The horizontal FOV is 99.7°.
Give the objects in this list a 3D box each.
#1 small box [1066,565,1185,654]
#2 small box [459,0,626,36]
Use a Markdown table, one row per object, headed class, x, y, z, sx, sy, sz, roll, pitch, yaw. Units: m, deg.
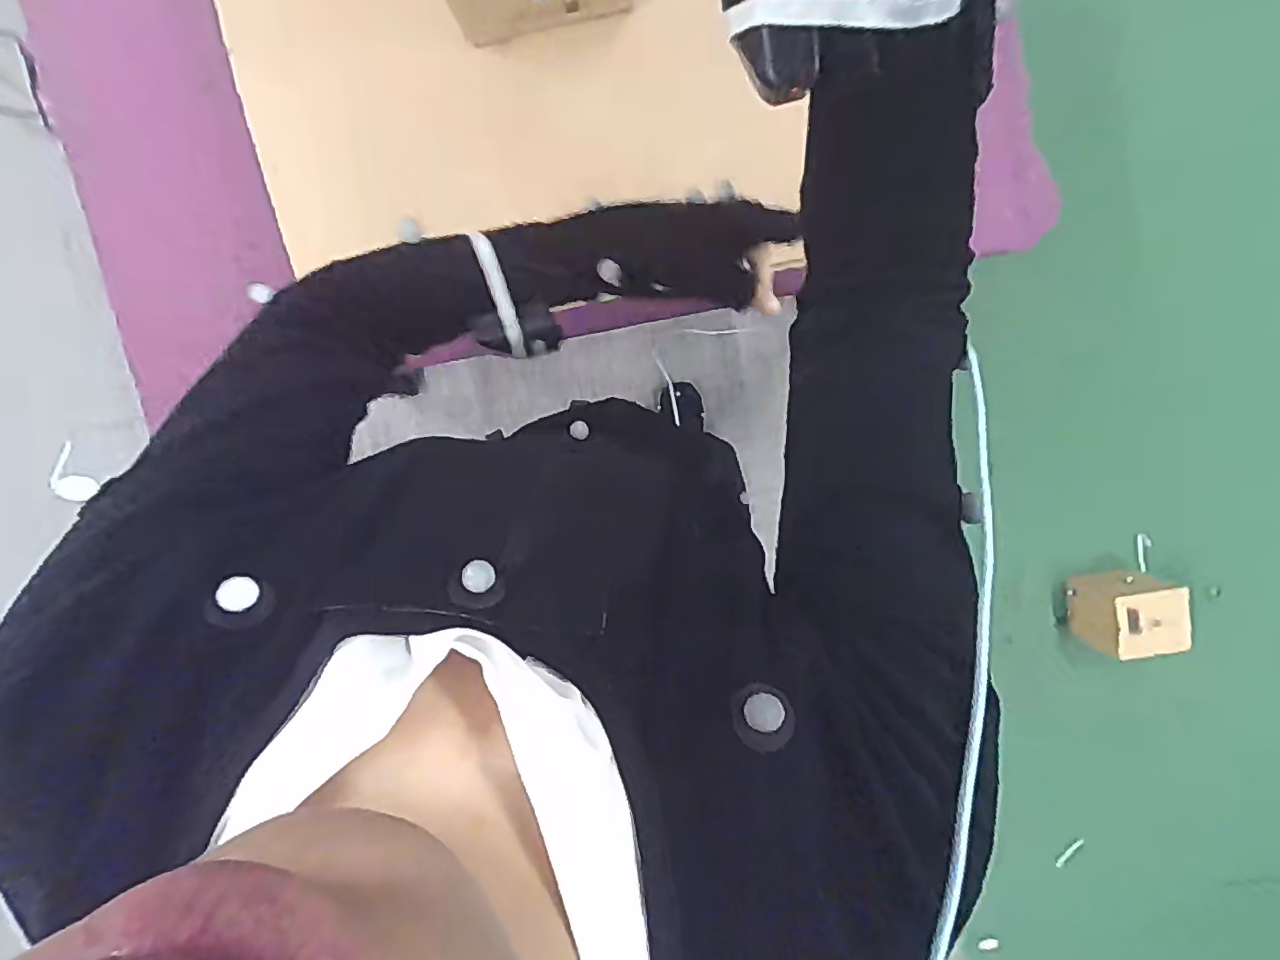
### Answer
| class | x | y | z | sx | sy | sz | roll | pitch | yaw |
| --- | --- | --- | --- | --- | --- | --- | --- | --- | --- |
| small box | 1.258 | 0.332 | 1.417 | 0.179 | 0.176 | 0.168 | -10 | 98 | 2 |
| small box | -0.102 | -0.511 | 0.424 | 0.168 | 0.176 | 0.179 | -10 | 96 | 4 |
